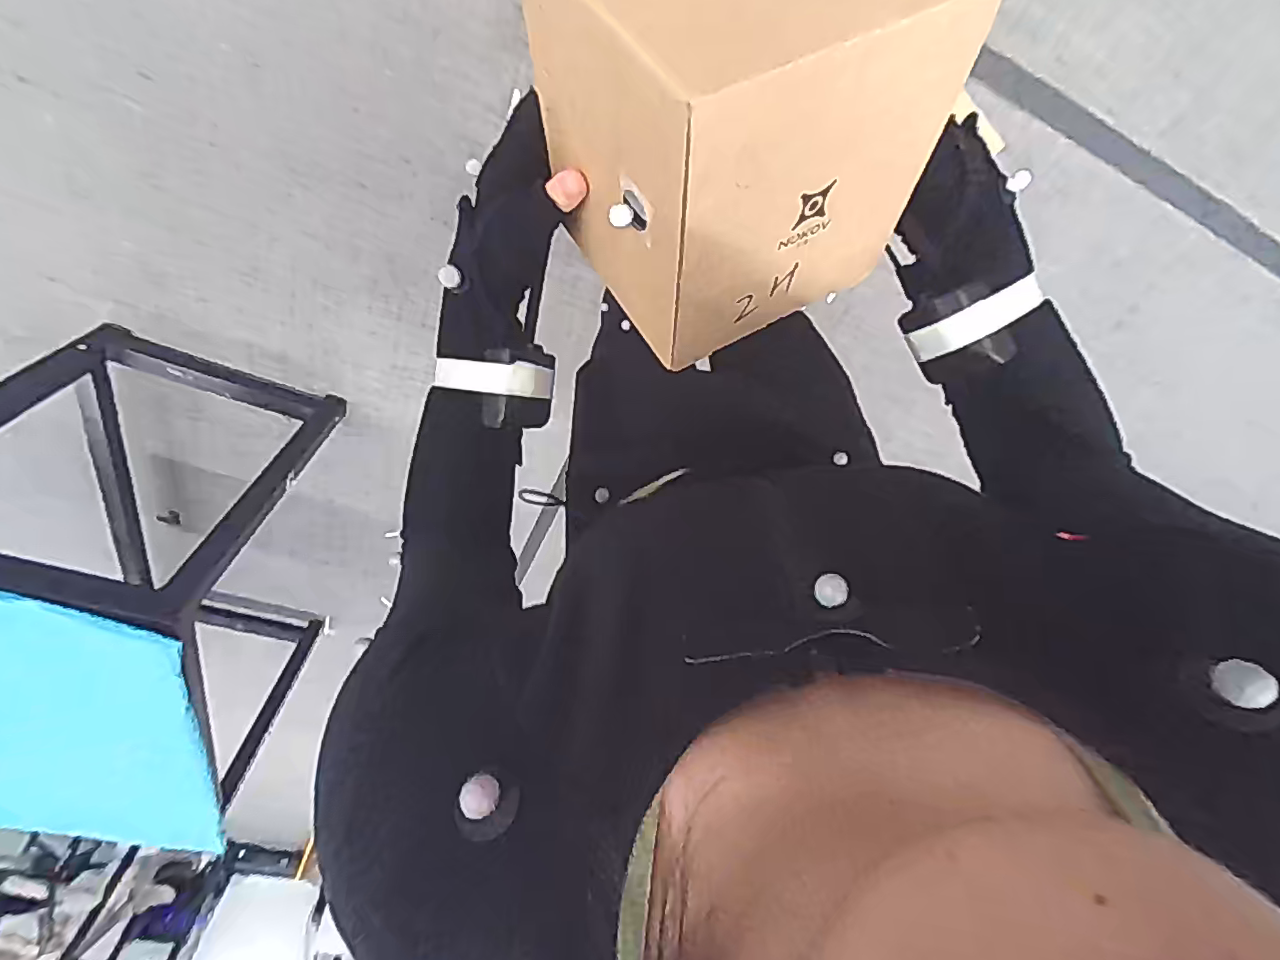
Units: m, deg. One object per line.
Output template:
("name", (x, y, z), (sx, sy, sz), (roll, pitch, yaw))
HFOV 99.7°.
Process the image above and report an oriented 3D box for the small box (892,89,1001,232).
("small box", (0.433, -0.552, 0.887), (0.179, 0.176, 0.168), (30, 125, -24))
